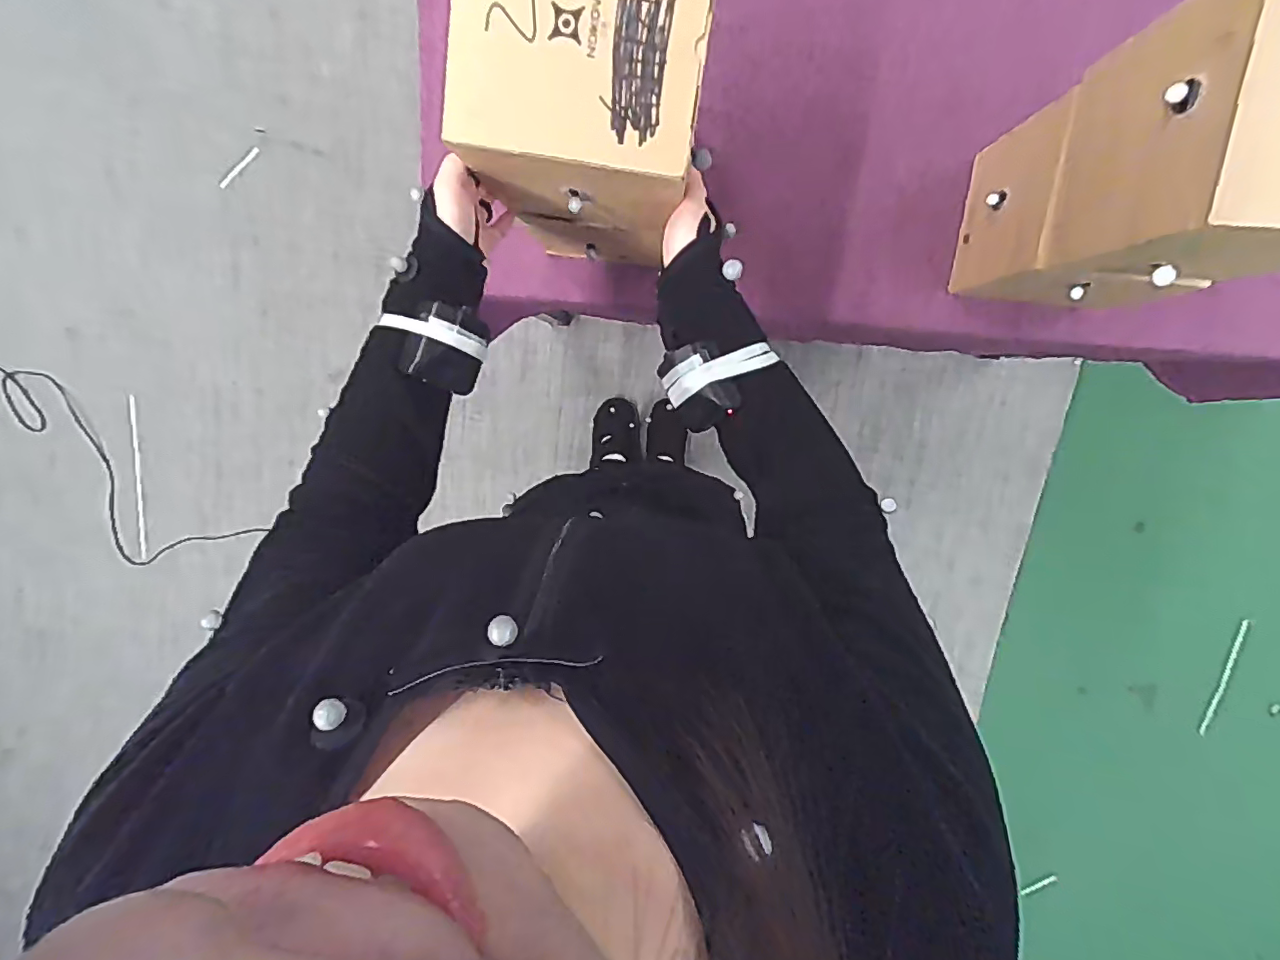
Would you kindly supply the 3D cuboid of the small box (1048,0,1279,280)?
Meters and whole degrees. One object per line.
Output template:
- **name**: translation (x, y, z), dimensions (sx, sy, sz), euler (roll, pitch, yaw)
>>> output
- **small box**: translation (0.474, -0.270, 0.431), dimensions (0.168, 0.176, 0.179), euler (5, 102, 2)

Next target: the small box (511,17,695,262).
- **small box**: translation (-0.037, -0.359, 0.604), dimensions (0.168, 0.176, 0.179), euler (7, 102, 1)

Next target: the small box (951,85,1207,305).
- **small box**: translation (0.480, -0.294, 0.594), dimensions (0.179, 0.176, 0.168), euler (7, 102, 1)
